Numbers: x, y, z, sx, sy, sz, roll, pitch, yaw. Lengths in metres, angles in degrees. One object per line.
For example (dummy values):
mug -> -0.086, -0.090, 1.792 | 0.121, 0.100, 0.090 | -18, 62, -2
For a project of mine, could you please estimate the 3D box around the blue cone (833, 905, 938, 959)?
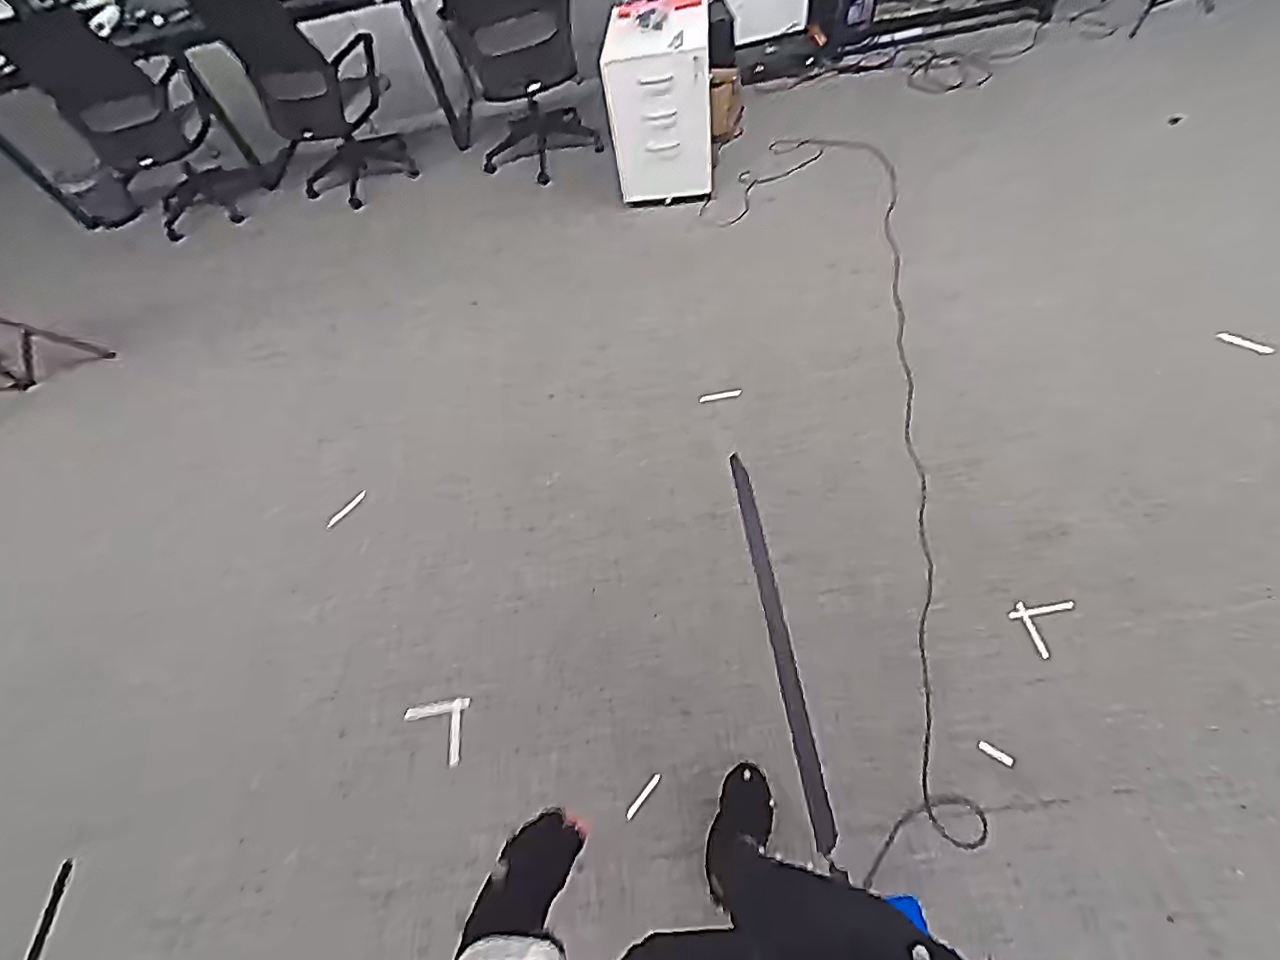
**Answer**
blue cone -> 0.450, 0.829, 0.873 | 0.193, 0.380, 0.192 | -10, 55, 2
